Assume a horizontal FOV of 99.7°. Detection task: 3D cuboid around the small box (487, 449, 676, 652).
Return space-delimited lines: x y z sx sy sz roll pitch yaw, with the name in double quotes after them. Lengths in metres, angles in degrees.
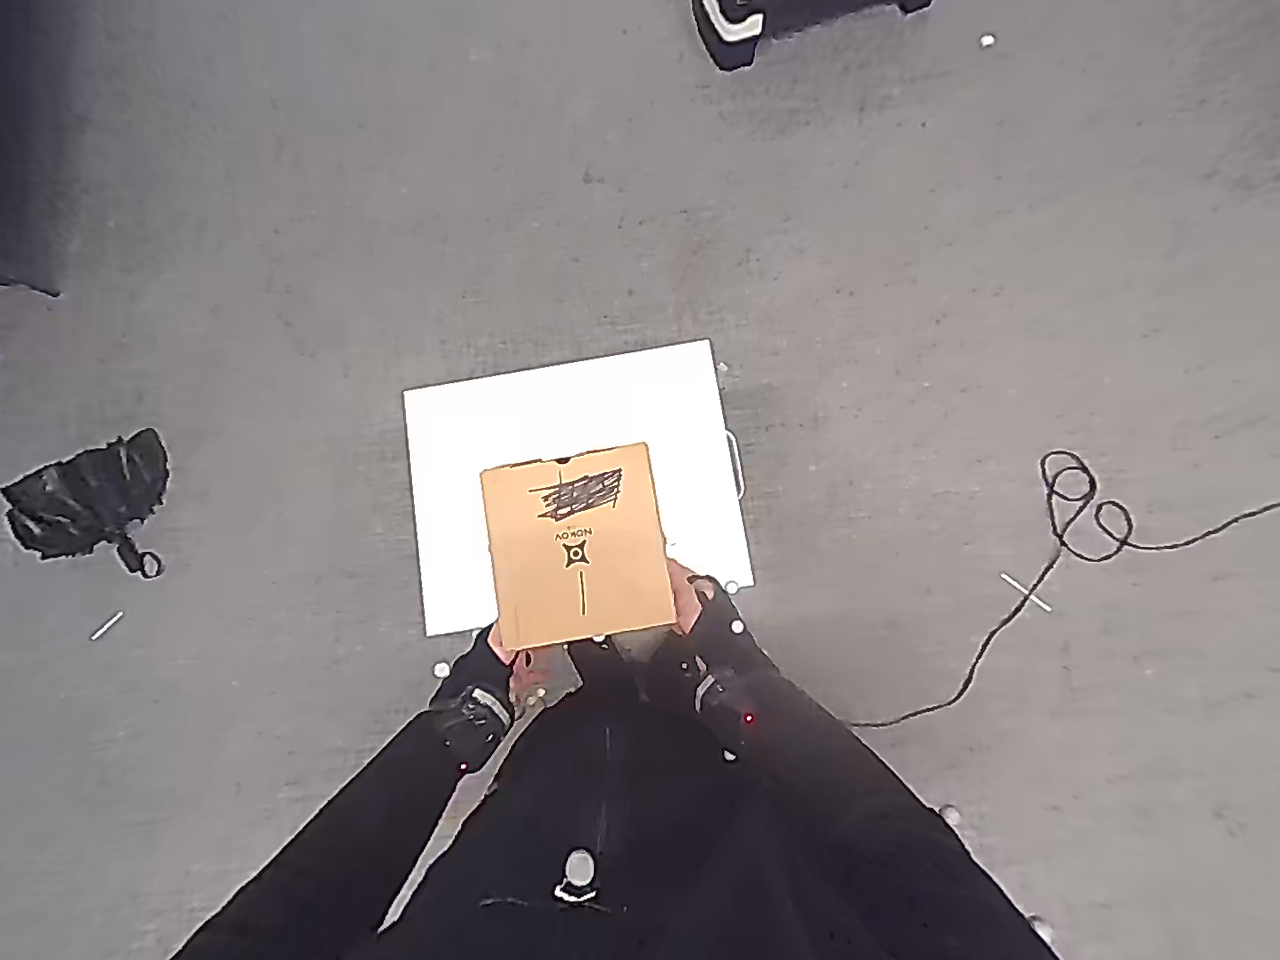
-0.057 0.078 0.595 0.168 0.176 0.179 -9 81 1 "small box"
